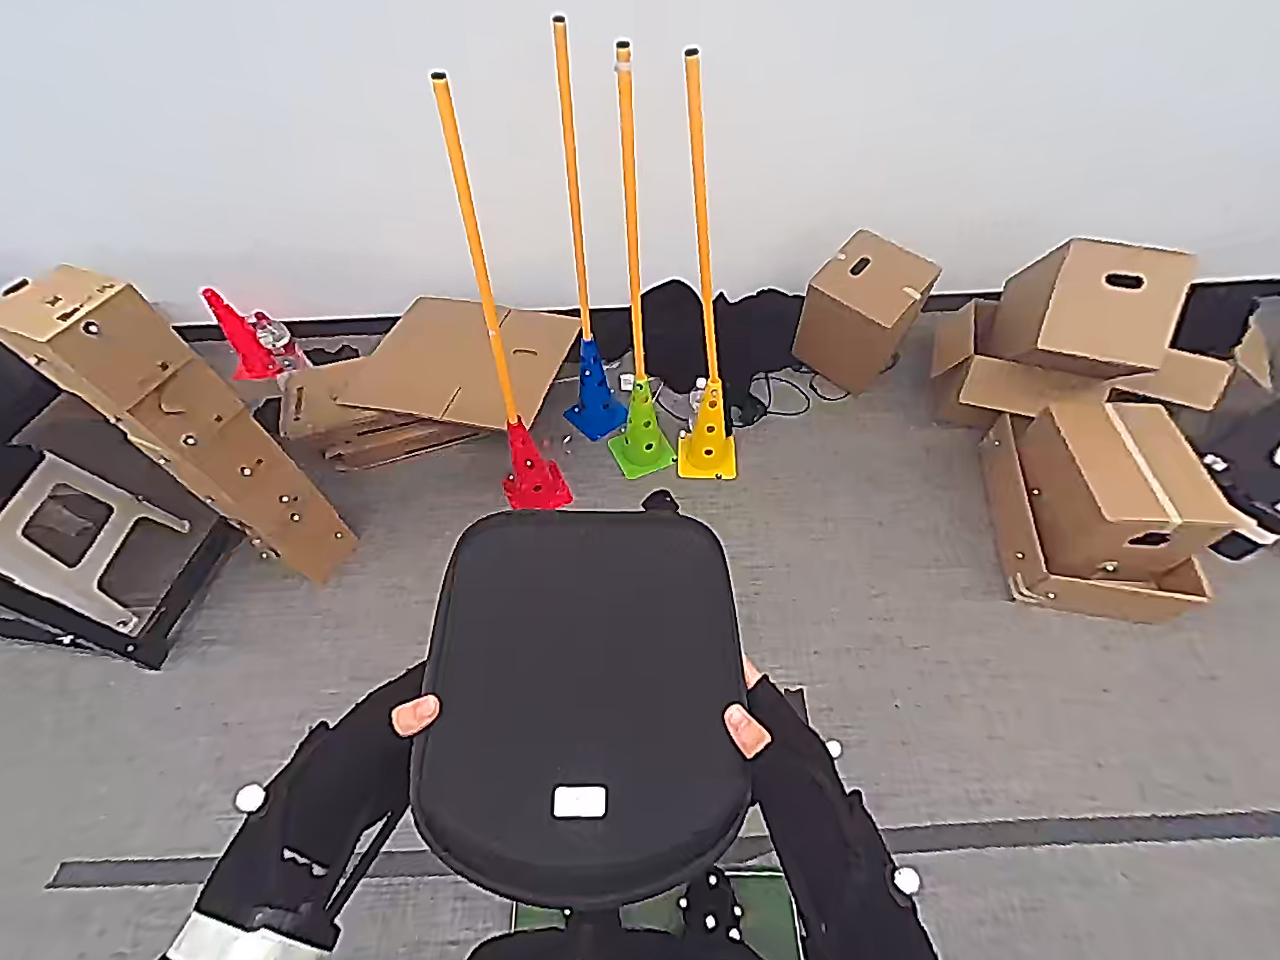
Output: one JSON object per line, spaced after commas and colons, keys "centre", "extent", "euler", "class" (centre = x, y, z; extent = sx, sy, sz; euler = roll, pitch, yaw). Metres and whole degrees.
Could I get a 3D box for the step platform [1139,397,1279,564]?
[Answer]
{"centre": [1.958, -0.017, 1.709], "extent": [0.684, 0.204, 0.286], "euler": [-26, 57, -16], "class": "step platform"}
